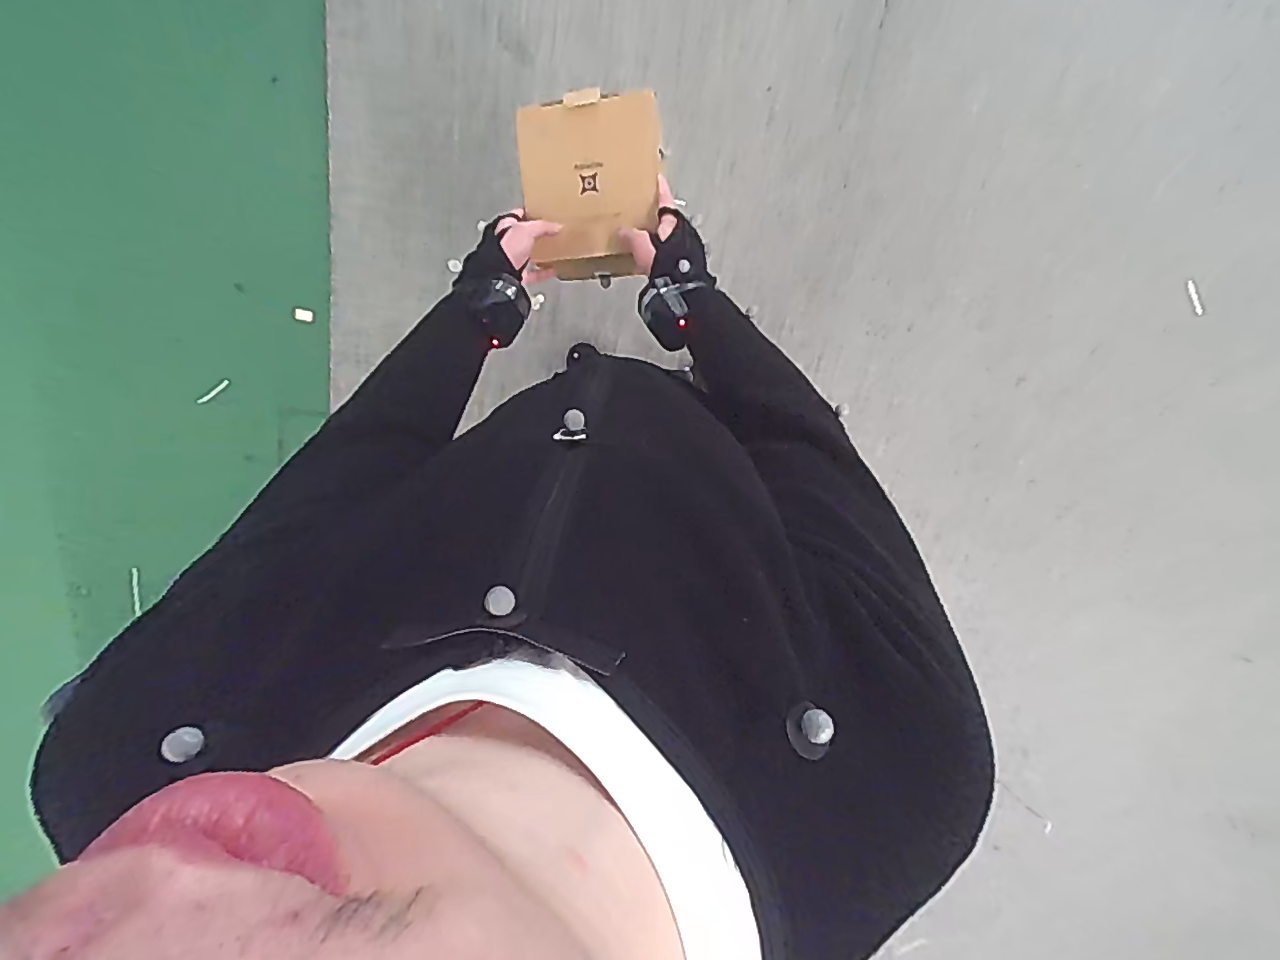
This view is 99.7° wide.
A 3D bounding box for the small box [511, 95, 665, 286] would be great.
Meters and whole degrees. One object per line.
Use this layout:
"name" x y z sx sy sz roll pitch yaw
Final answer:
"small box" -0.057 -0.362 0.710 0.168 0.176 0.179 -1 102 8
